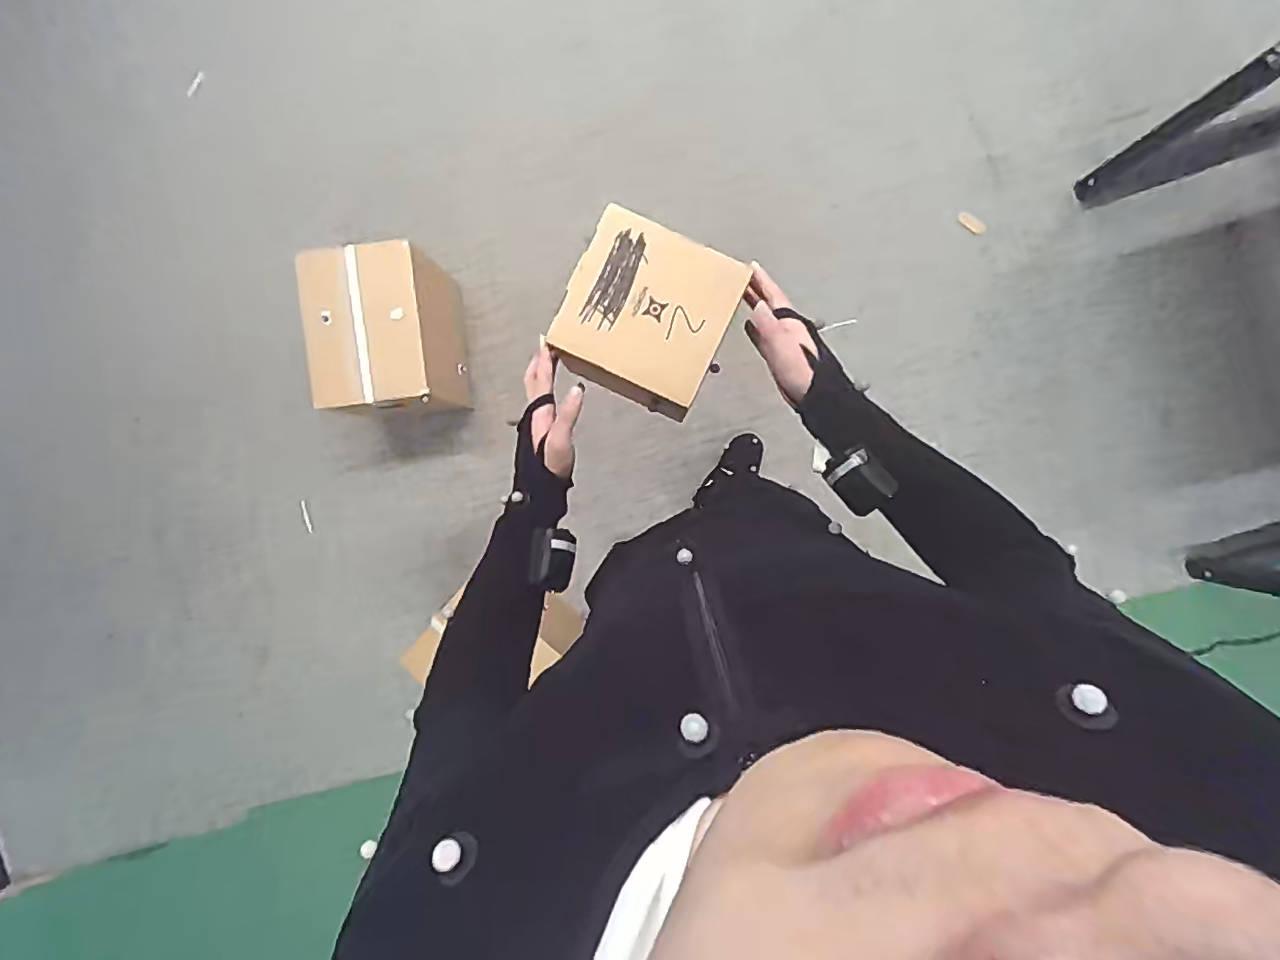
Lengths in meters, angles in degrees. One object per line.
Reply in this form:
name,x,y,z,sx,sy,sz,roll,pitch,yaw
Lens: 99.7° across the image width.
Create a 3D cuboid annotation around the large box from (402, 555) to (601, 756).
large box,-0.372,0.475,1.550,0.408,0.320,0.320,41,95,0
